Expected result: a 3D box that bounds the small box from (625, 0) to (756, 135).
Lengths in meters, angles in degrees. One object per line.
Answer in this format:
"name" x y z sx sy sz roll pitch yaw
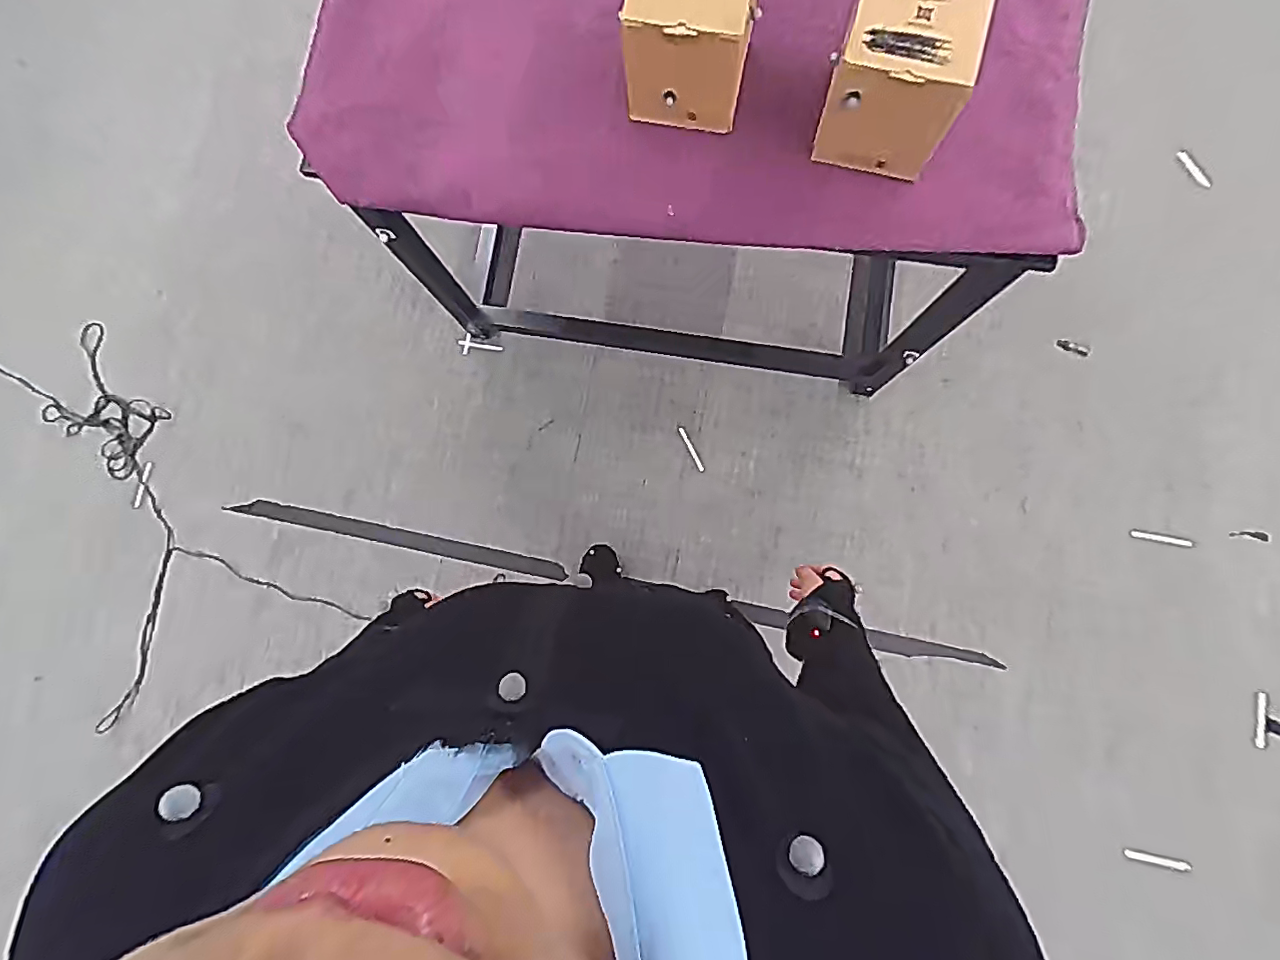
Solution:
"small box" 0.078 -0.662 0.801 0.168 0.176 0.179 12 83 4
